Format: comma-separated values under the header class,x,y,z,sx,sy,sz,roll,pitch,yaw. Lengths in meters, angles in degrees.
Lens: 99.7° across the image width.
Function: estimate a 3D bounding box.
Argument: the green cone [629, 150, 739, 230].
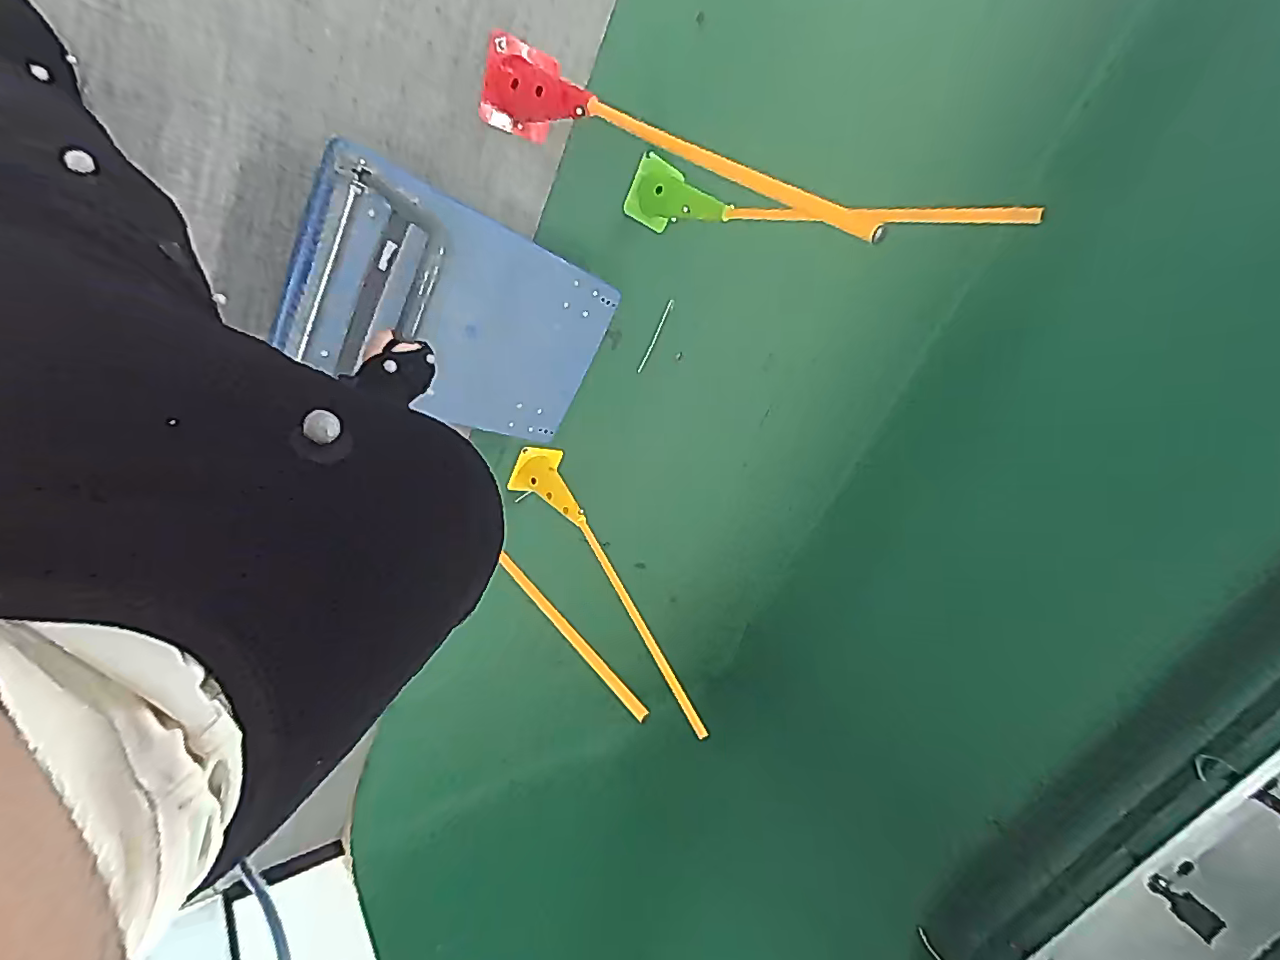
class,x,y,z,sx,sy,sz,roll,pitch,yaw
green cone,0.166,-0.875,1.704,0.202,0.368,0.200,3,119,-47
